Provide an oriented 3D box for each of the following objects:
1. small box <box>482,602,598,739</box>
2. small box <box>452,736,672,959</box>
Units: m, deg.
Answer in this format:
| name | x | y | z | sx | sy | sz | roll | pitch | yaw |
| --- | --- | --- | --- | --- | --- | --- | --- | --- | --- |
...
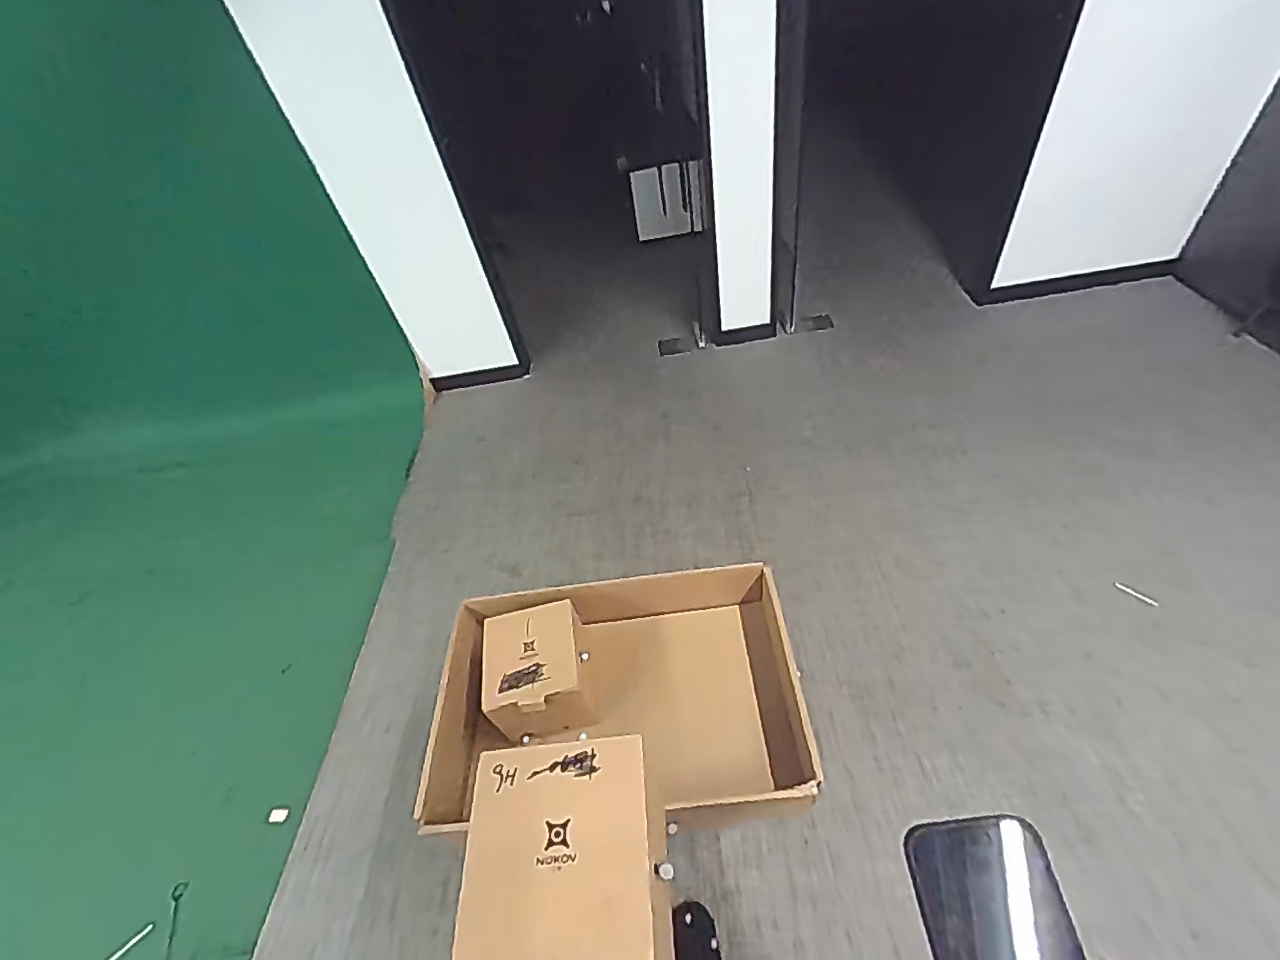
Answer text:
| name | x | y | z | sx | sy | sz | roll | pitch | yaw |
| --- | --- | --- | --- | --- | --- | --- | --- | --- | --- |
| small box | -0.181 | 0.358 | 1.000 | 0.168 | 0.176 | 0.179 | -14 | 45 | 0 |
| small box | -0.063 | 0.377 | 0.535 | 0.168 | 0.176 | 0.179 | -8 | 46 | 4 |
